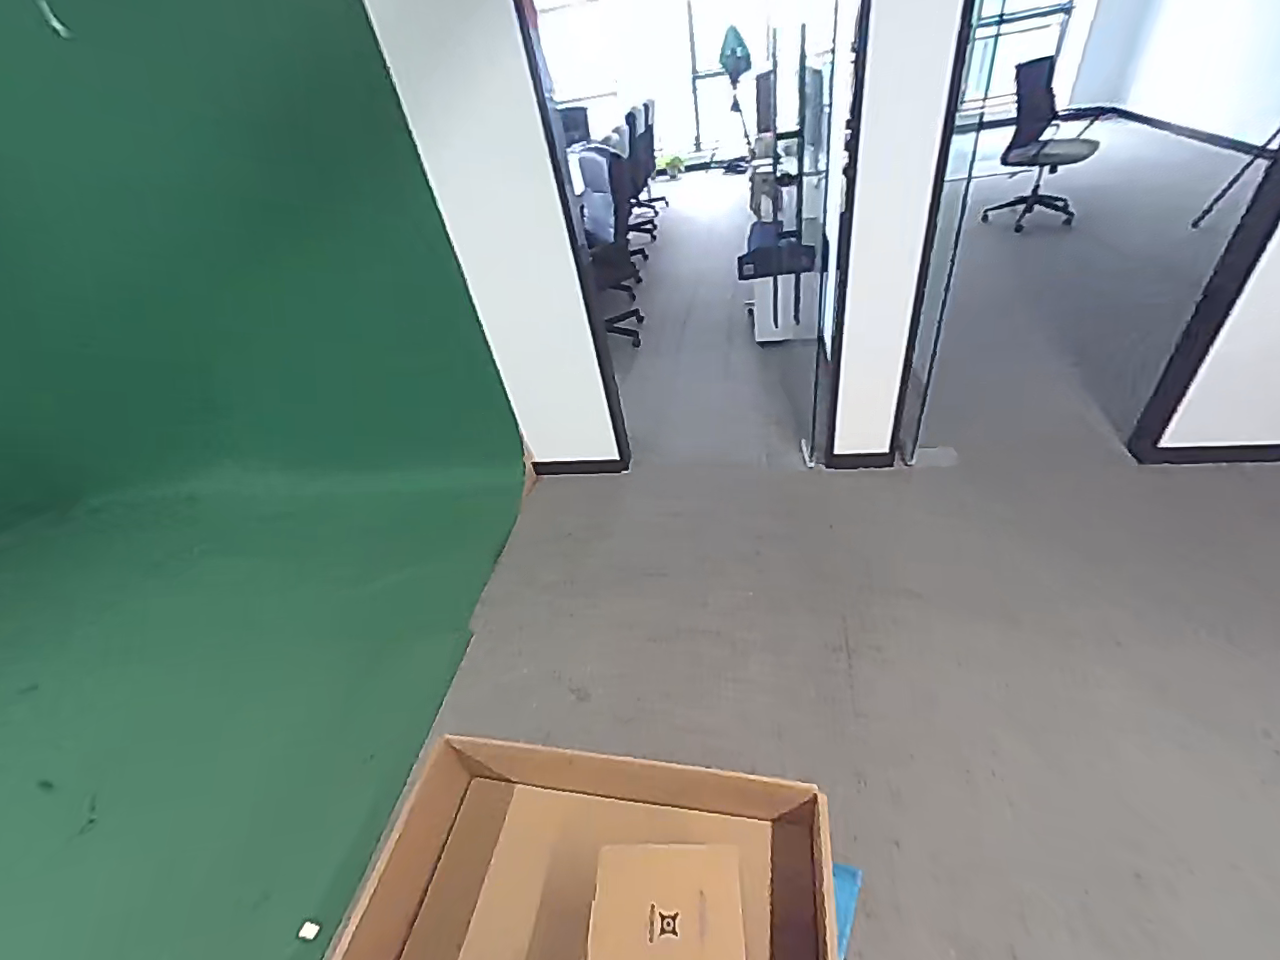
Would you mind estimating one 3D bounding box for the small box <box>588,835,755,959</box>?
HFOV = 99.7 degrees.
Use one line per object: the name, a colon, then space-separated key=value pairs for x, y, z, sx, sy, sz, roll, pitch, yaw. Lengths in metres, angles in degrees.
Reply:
small box: x=0.045 y=0.556 z=0.647 sx=0.179 sy=0.176 sz=0.168 roll=-5 pitch=32 yaw=9
